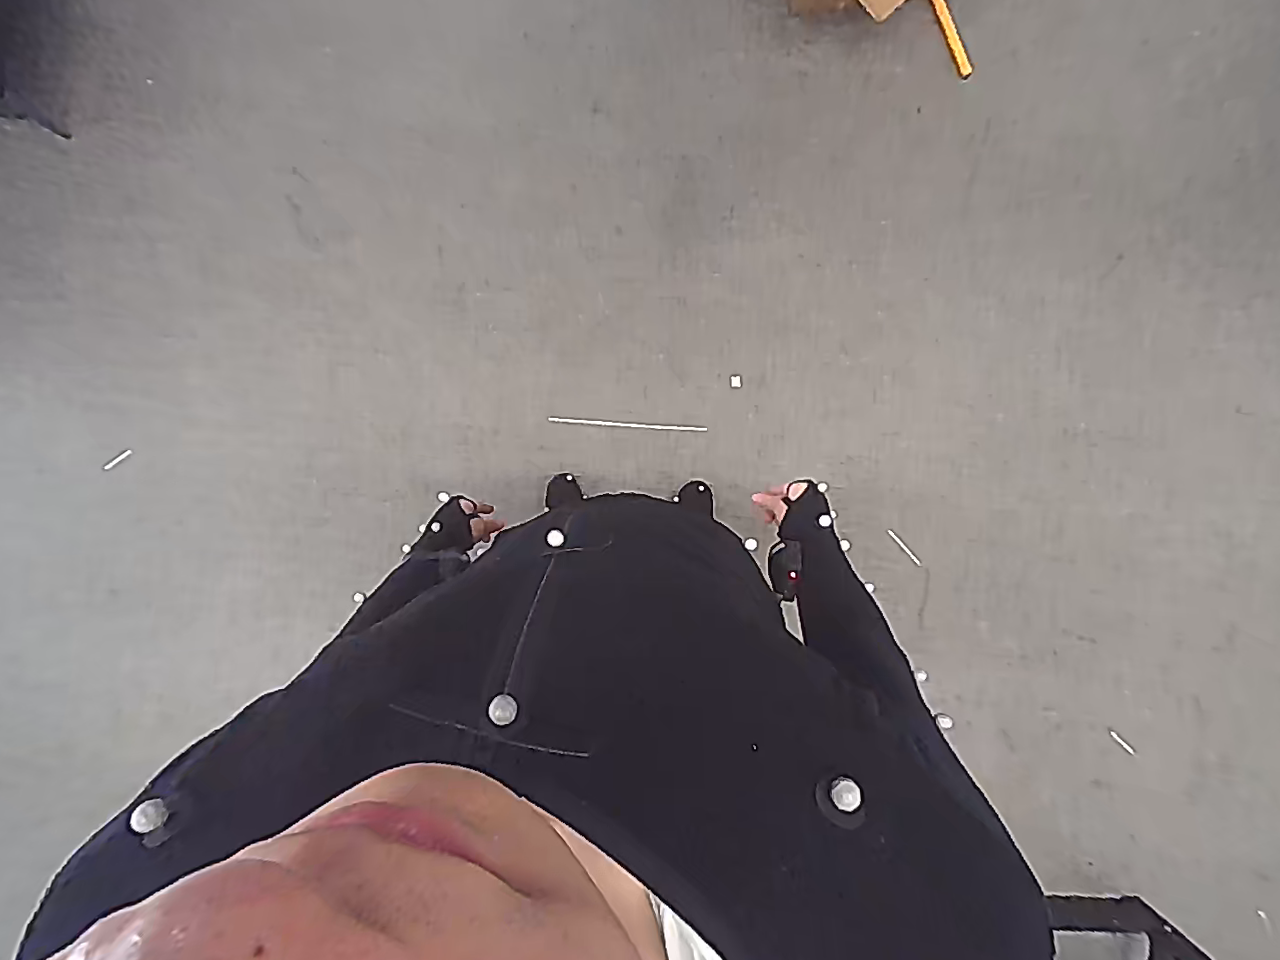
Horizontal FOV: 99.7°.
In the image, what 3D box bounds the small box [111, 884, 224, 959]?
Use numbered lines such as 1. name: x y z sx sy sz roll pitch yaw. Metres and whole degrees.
1. small box: -1.314 1.275 1.512 0.179 0.176 0.168 7 91 0
